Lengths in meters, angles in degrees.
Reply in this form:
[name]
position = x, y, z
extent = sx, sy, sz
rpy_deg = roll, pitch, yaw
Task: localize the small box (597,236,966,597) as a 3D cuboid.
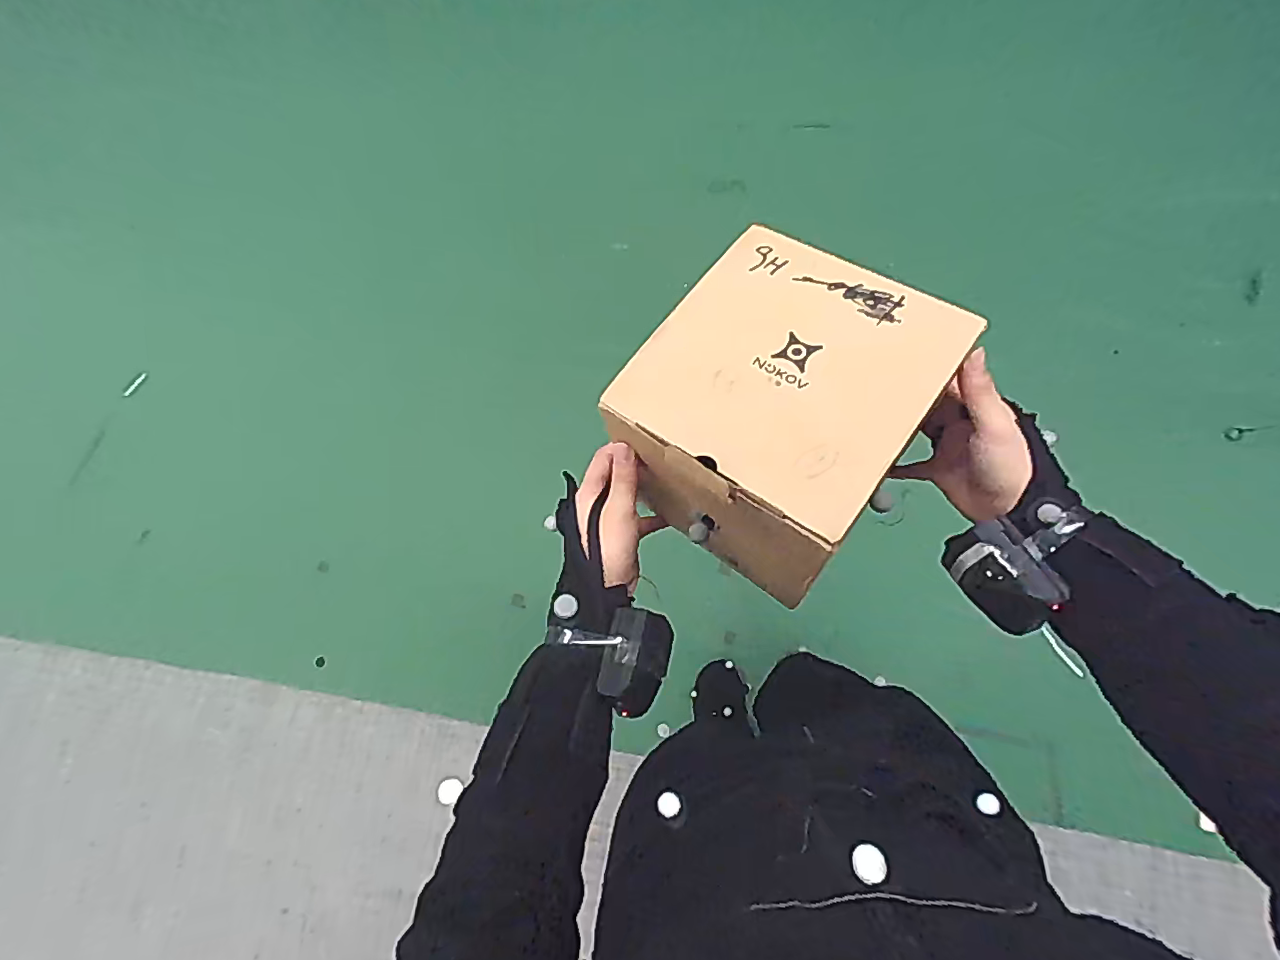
[small box]
position = 0.098, -0.035, 0.408
extent = 0.168, 0.176, 0.179
rpy_deg = 33, 75, 21
